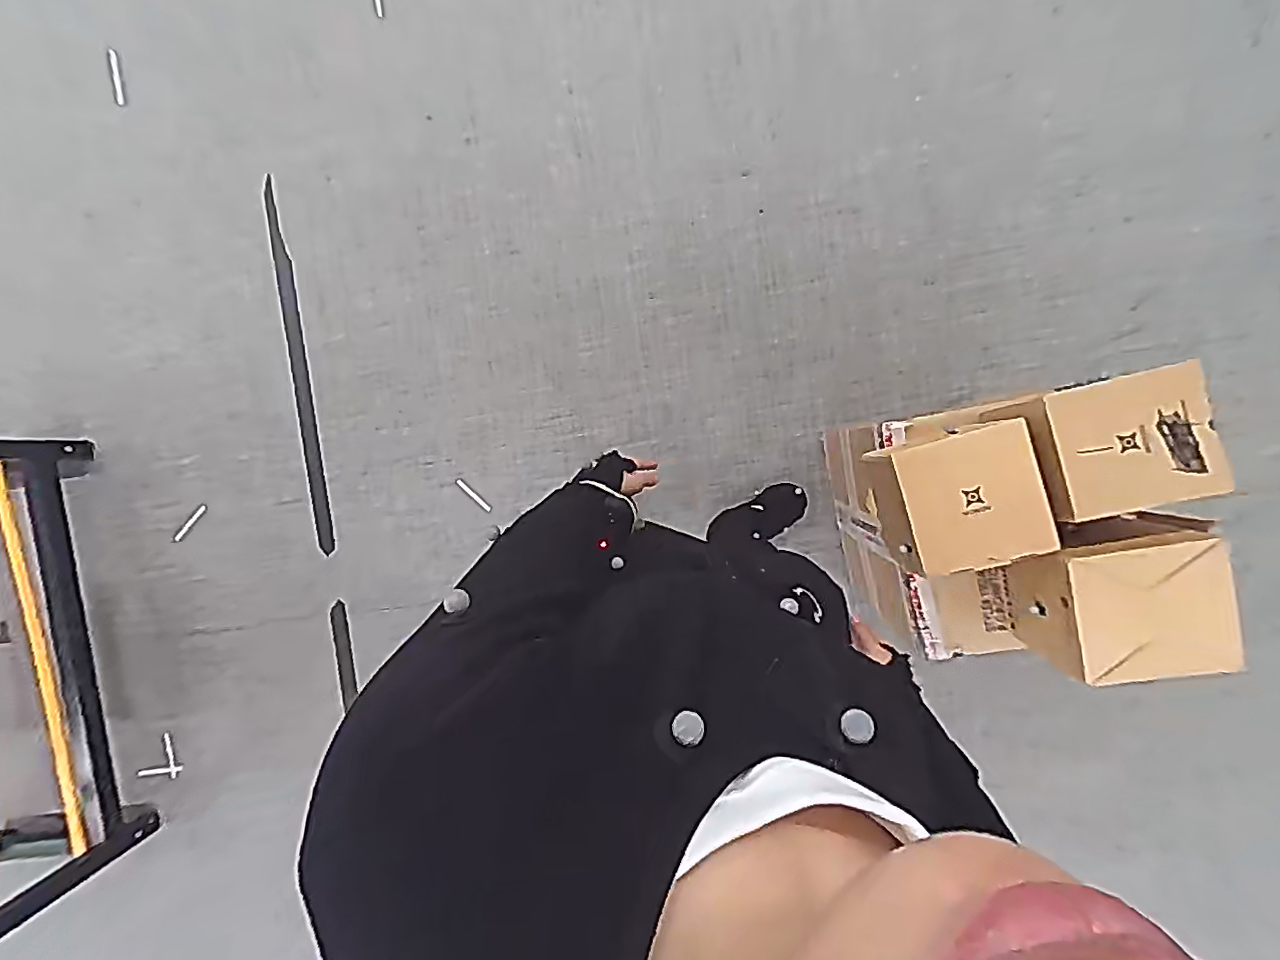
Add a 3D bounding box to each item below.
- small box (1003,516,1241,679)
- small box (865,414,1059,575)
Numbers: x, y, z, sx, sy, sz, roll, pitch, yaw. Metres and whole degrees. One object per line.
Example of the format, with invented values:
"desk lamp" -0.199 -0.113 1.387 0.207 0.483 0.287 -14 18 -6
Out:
"small box" 0.638 0.154 0.739 0.179 0.176 0.168 -11 94 9
"small box" 0.439 0.018 0.769 0.168 0.176 0.179 -16 90 10
